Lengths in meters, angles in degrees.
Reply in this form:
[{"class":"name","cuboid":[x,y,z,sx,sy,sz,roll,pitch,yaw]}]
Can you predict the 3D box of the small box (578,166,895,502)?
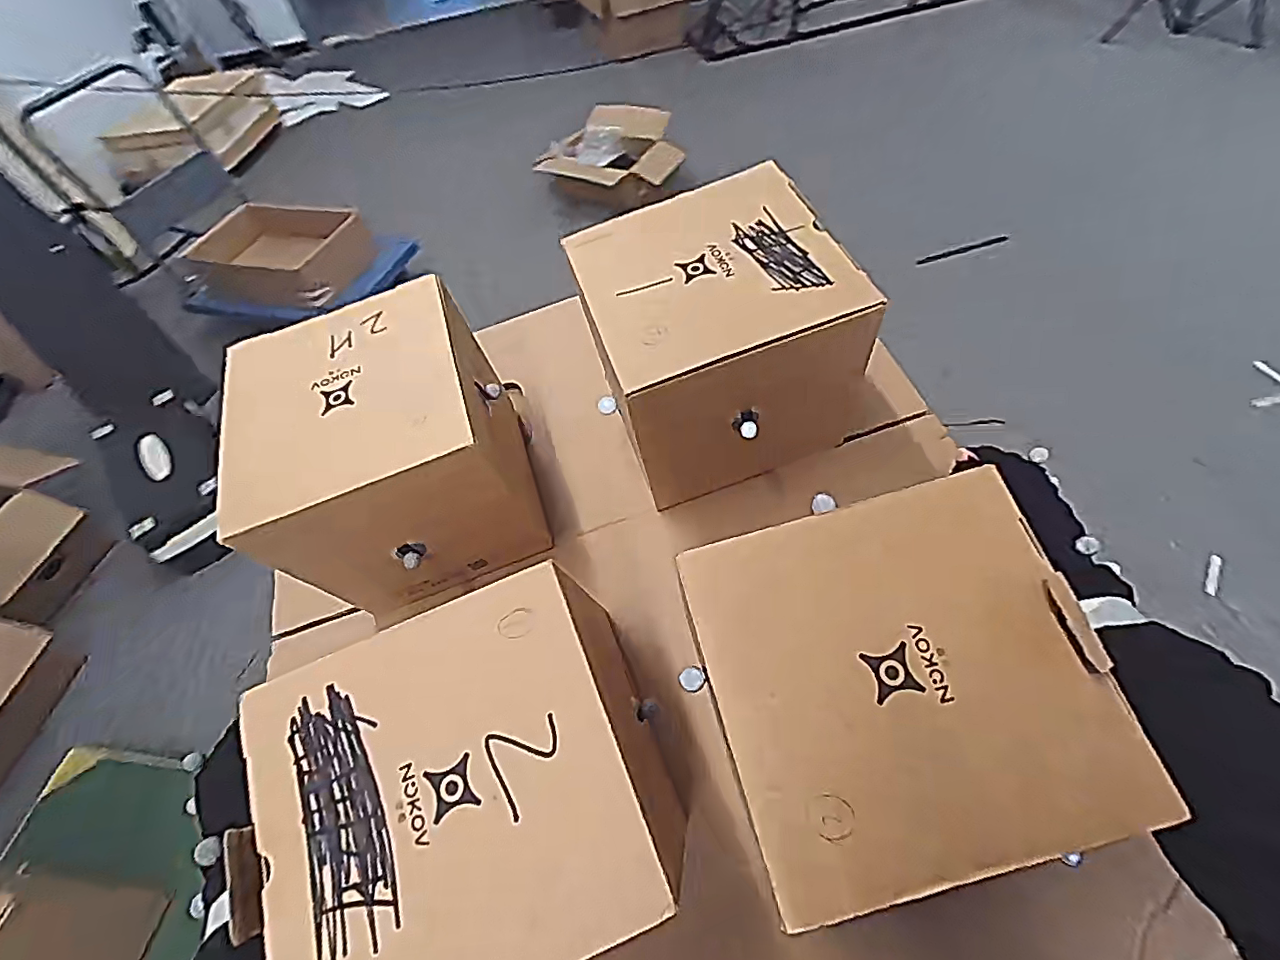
[{"class":"small box","cuboid":[0.067,-0.106,0.440,0.179,0.176,0.168,-19,60,0]}]
